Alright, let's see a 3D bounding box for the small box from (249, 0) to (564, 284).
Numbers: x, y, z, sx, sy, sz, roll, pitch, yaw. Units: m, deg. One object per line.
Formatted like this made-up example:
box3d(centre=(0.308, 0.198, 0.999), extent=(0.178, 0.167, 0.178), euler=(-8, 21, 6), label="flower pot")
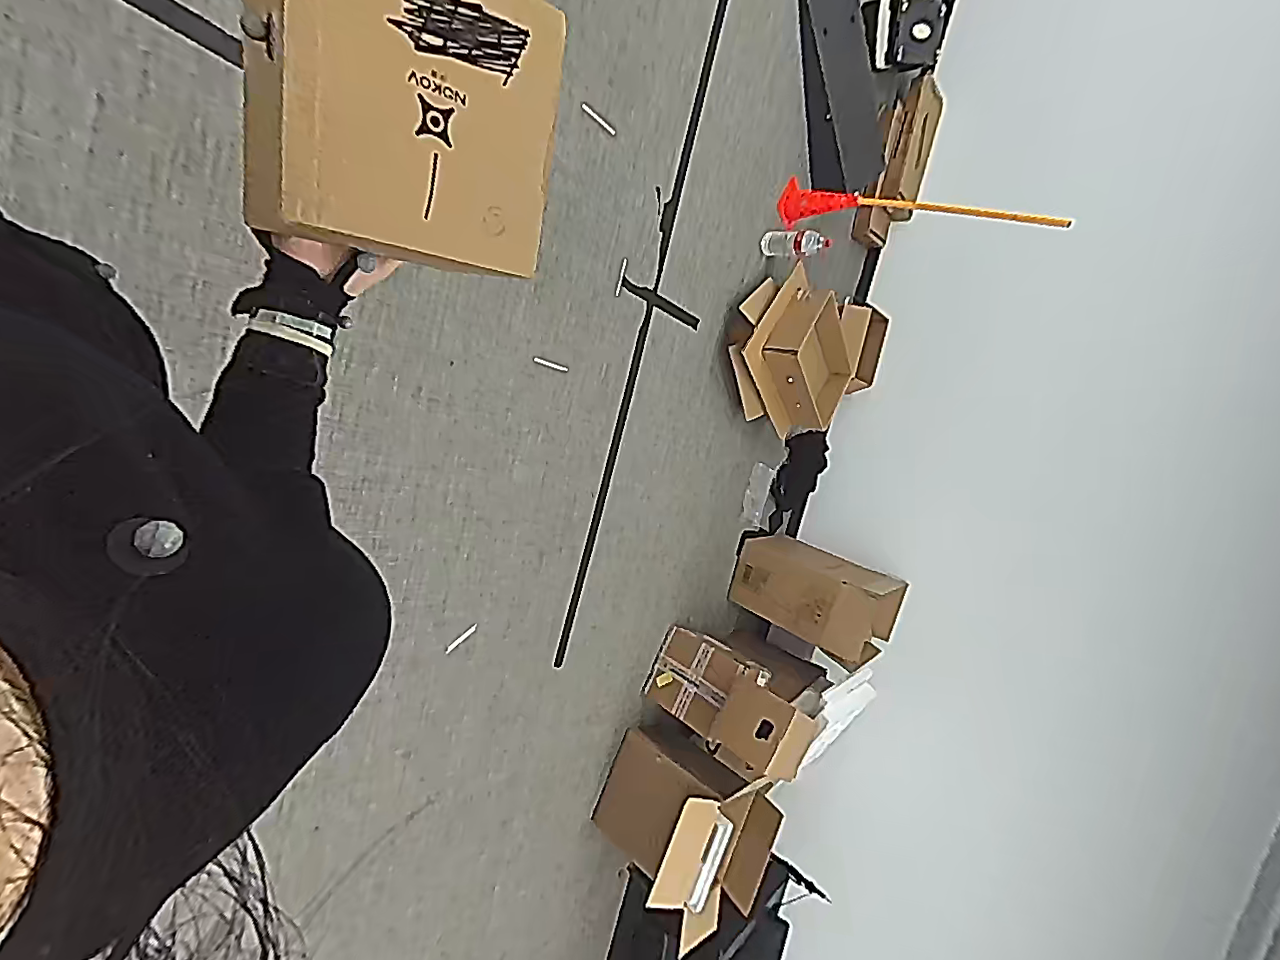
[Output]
box3d(centre=(-0.181, -0.258, 0.403), extent=(0.168, 0.176, 0.179), euler=(-2, 110, -42), label="small box")
